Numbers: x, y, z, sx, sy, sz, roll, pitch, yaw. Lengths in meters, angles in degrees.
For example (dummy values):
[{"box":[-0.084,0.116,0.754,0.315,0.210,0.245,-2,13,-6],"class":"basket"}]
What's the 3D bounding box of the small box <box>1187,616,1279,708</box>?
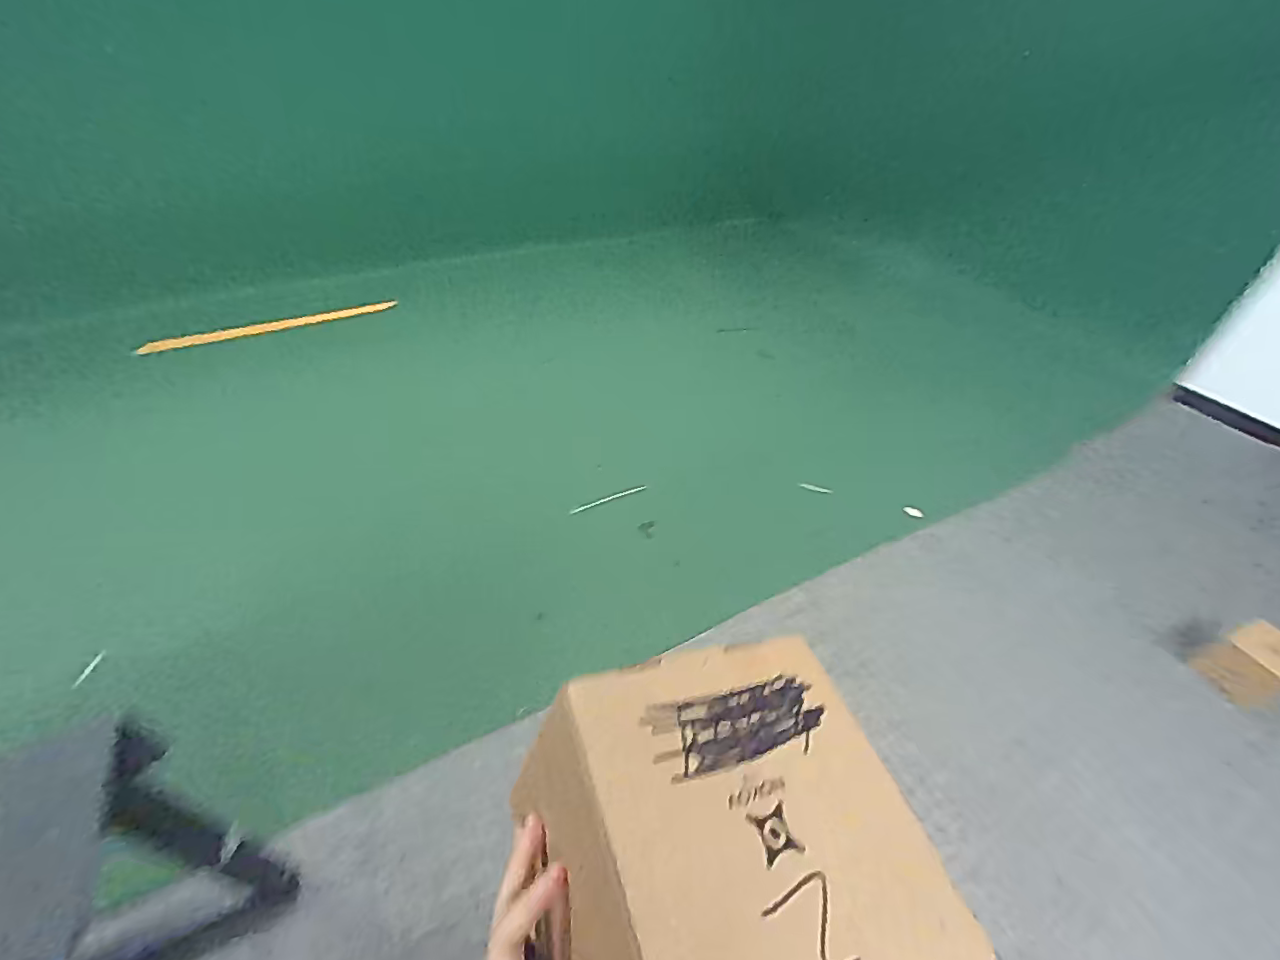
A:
[{"box":[1.766,0.531,1.570,0.179,0.176,0.168,-14,46,-16],"class":"small box"}]
